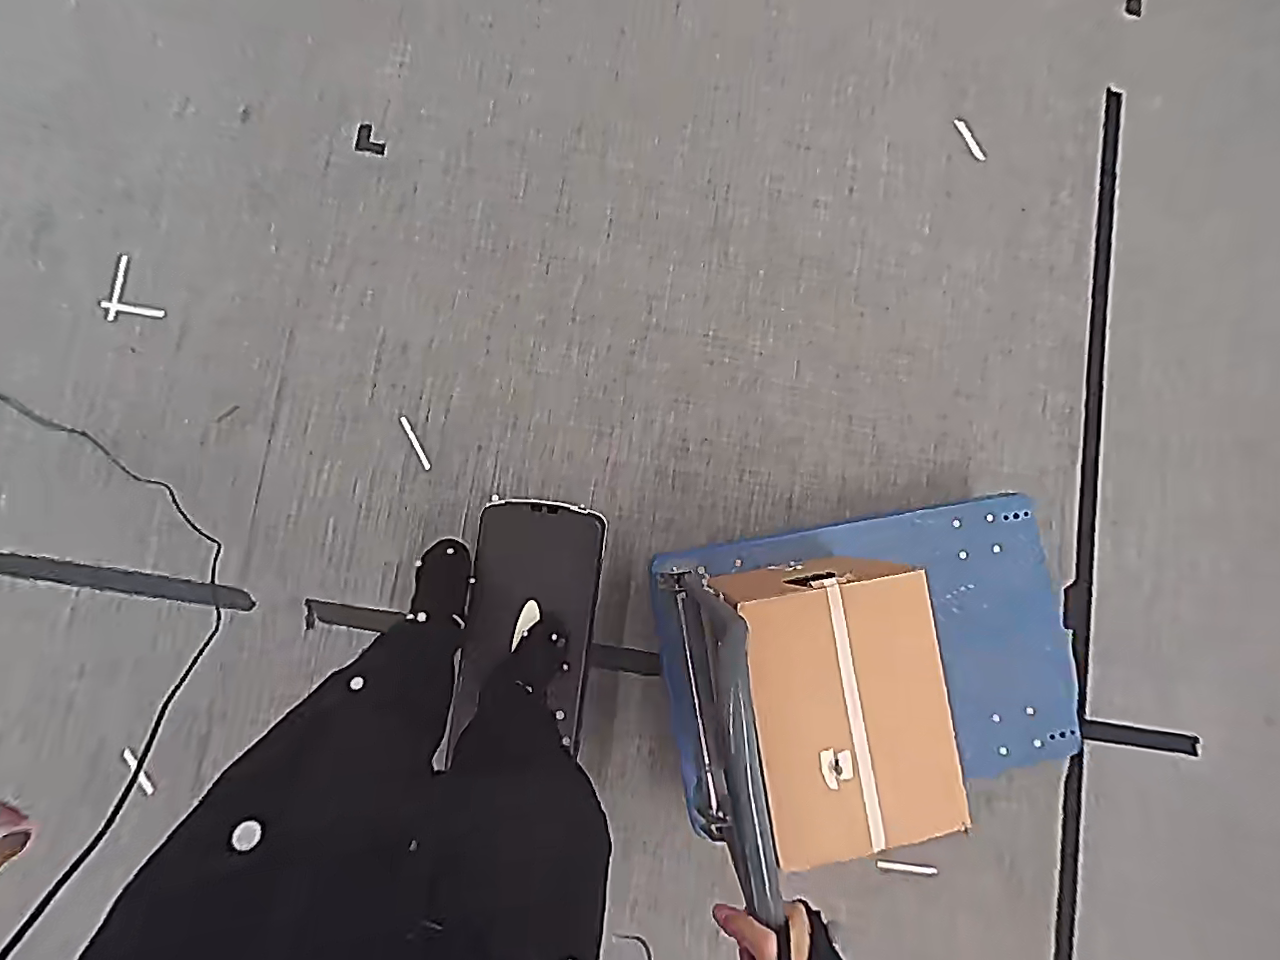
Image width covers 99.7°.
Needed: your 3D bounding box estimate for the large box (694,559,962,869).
[{"bbox_3d":[0.306,0.376,0.983,0.320,0.320,0.408,-8,87,-6],"label":"large box"}]
